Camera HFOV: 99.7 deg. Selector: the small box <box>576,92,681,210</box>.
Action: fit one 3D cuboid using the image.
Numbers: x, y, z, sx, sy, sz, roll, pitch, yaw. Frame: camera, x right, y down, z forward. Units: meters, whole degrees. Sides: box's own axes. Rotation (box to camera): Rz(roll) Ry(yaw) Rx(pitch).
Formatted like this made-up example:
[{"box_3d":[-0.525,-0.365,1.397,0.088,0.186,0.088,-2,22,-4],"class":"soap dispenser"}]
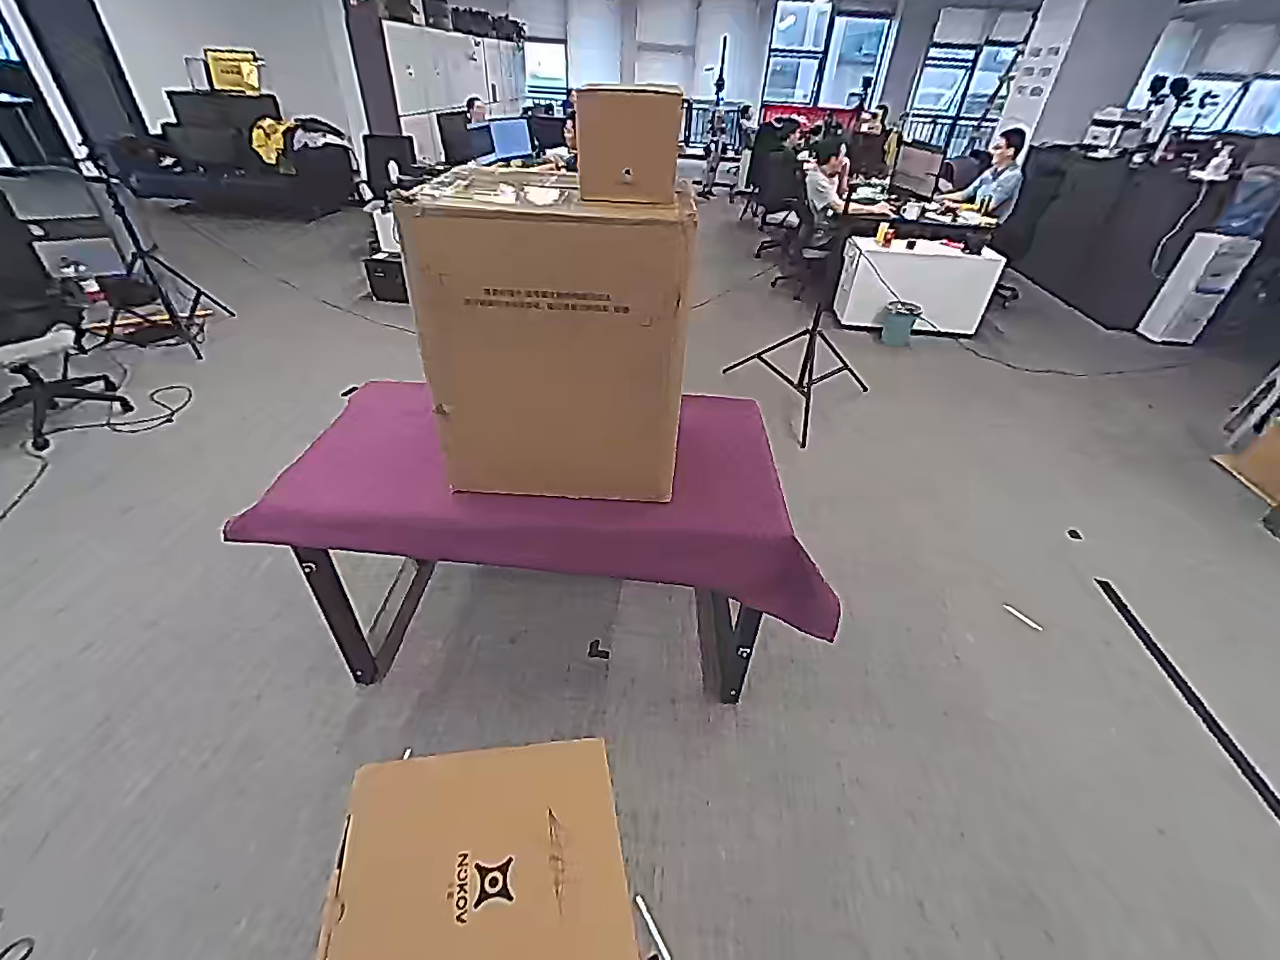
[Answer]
[{"box_3d":[-0.019,-0.610,1.006,0.179,0.176,0.168,3,37,1],"class":"small box"}]
